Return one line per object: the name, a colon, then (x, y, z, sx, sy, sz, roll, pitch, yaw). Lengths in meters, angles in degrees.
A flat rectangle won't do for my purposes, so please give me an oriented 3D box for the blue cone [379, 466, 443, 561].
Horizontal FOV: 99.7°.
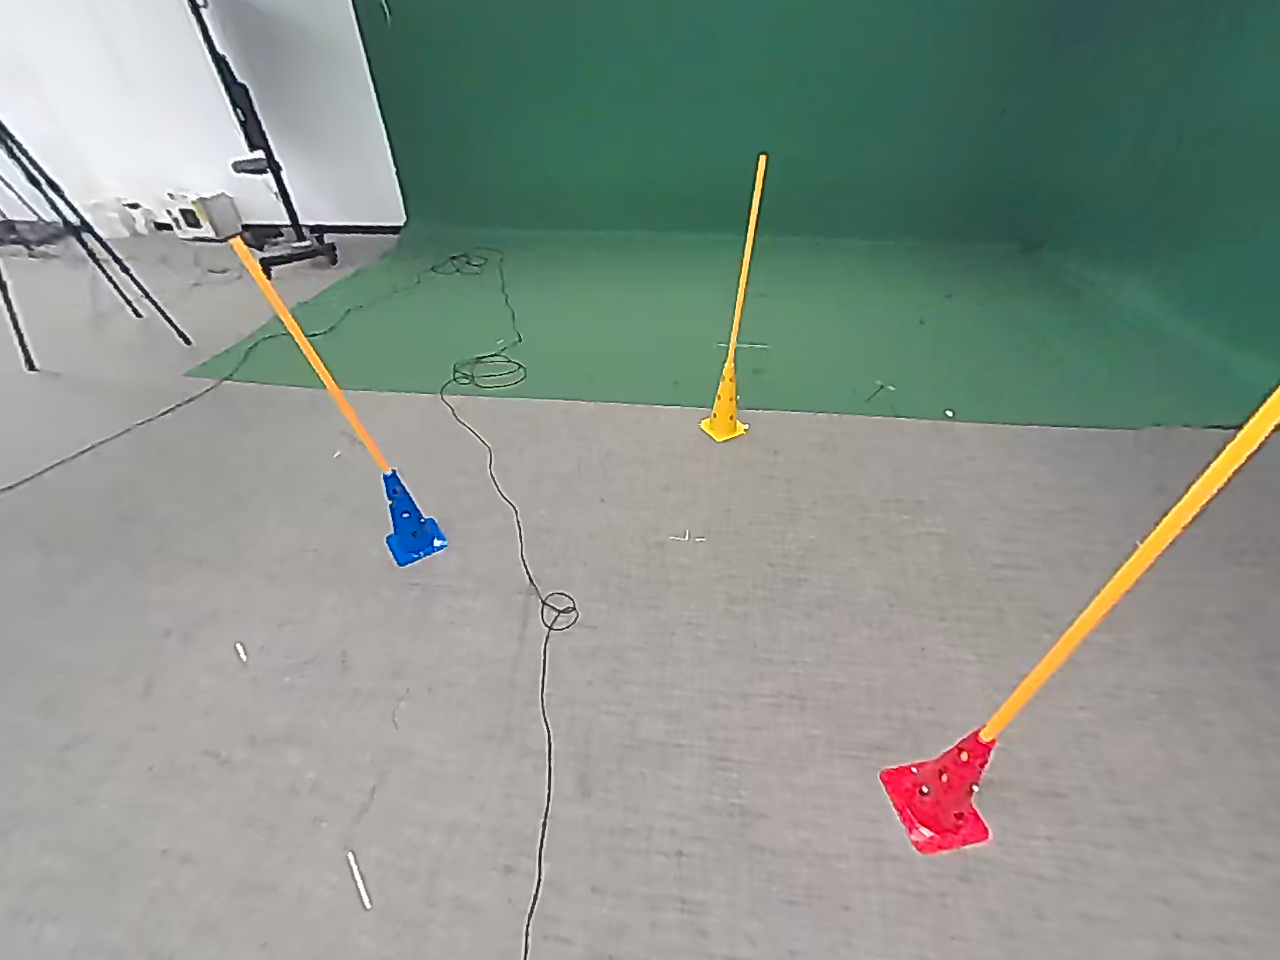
blue cone: (-0.890, 0.106, 2.012, 0.193, 0.380, 0.192, -28, 47, -26)
